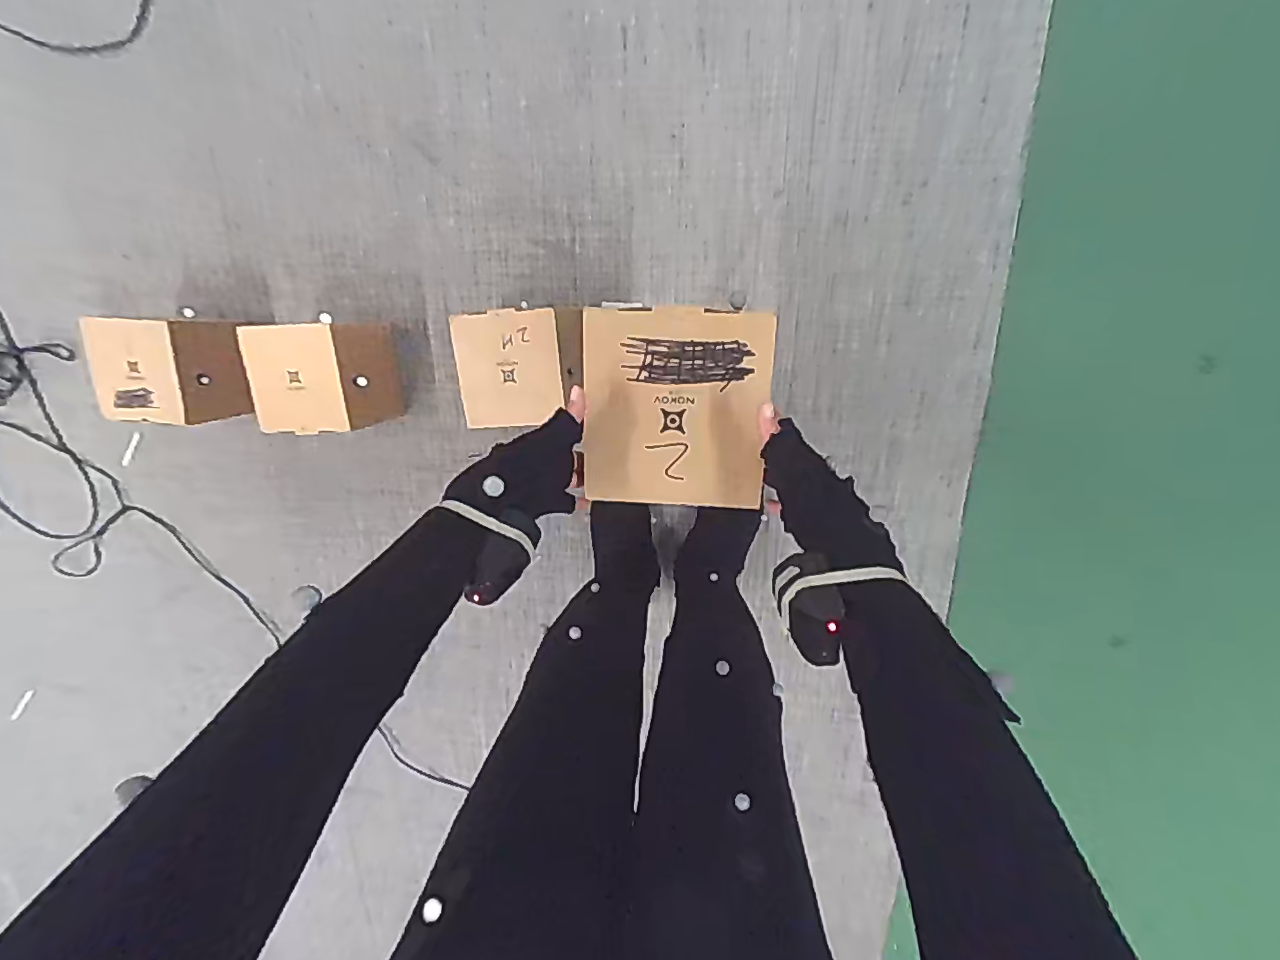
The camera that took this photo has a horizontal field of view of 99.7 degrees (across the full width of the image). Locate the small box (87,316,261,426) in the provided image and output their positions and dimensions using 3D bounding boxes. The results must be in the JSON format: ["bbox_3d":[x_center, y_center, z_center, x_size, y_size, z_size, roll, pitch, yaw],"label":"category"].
[{"bbox_3d":[-0.834,-0.205,0.991,0.168,0.176,0.179,5,106,6],"label":"small box"}]

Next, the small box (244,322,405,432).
[{"bbox_3d":[-0.546,-0.186,0.959,0.168,0.176,0.179,0,107,8],"label":"small box"}]

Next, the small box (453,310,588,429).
[{"bbox_3d":[-0.189,-0.190,0.909,0.168,0.176,0.179,-2,107,7],"label":"small box"}]
